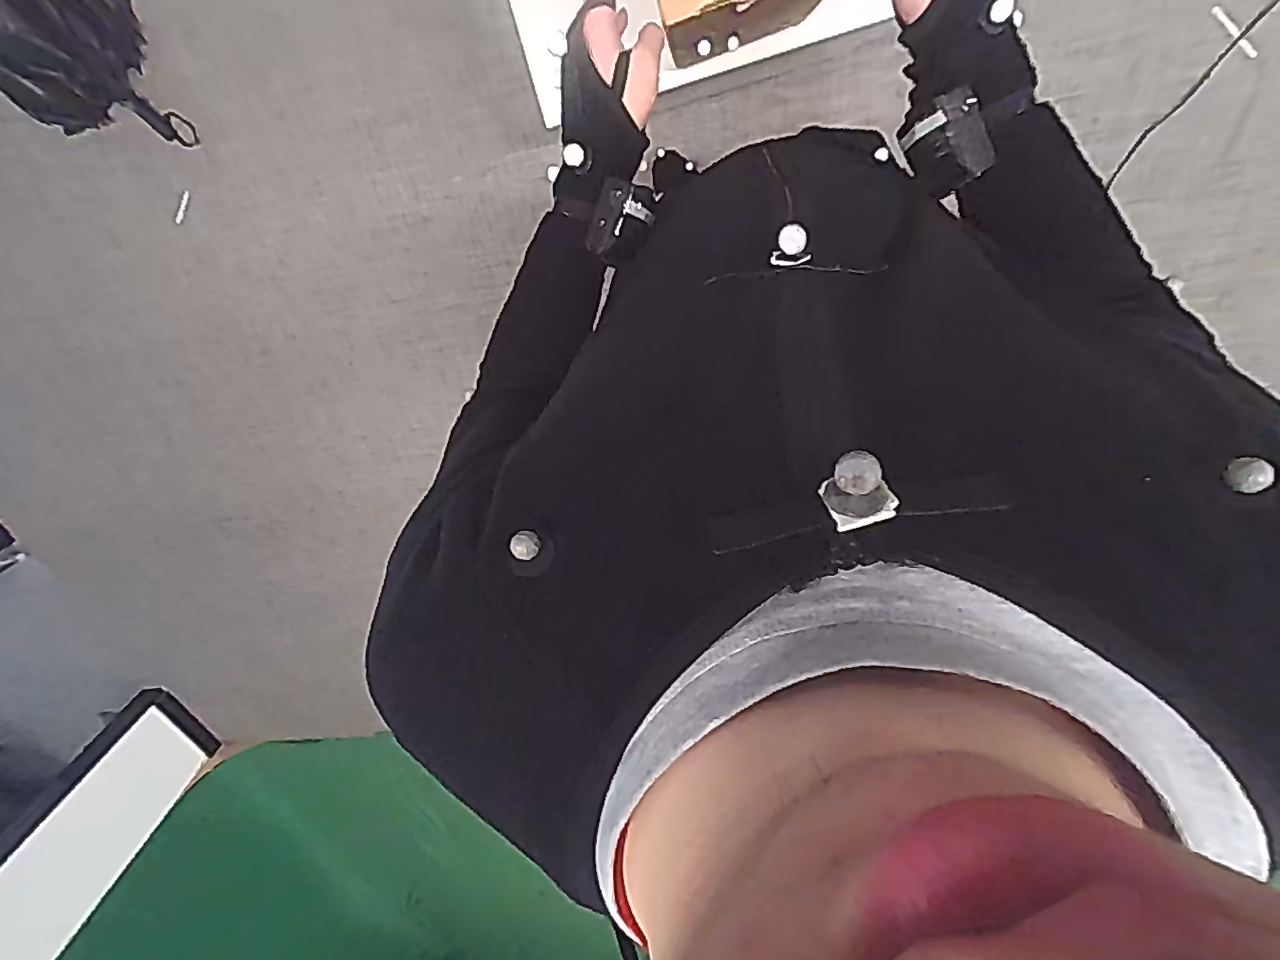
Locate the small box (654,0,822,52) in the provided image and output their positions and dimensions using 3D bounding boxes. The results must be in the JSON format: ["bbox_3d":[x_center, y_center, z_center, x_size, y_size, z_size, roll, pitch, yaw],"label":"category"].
[{"bbox_3d":[0.078,-0.485,0.443,0.168,0.176,0.179,-13,118,13],"label":"small box"}]

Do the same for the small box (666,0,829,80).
[{"bbox_3d":[0.093,-0.571,0.584,0.168,0.176,0.179,-13,119,14],"label":"small box"}]
